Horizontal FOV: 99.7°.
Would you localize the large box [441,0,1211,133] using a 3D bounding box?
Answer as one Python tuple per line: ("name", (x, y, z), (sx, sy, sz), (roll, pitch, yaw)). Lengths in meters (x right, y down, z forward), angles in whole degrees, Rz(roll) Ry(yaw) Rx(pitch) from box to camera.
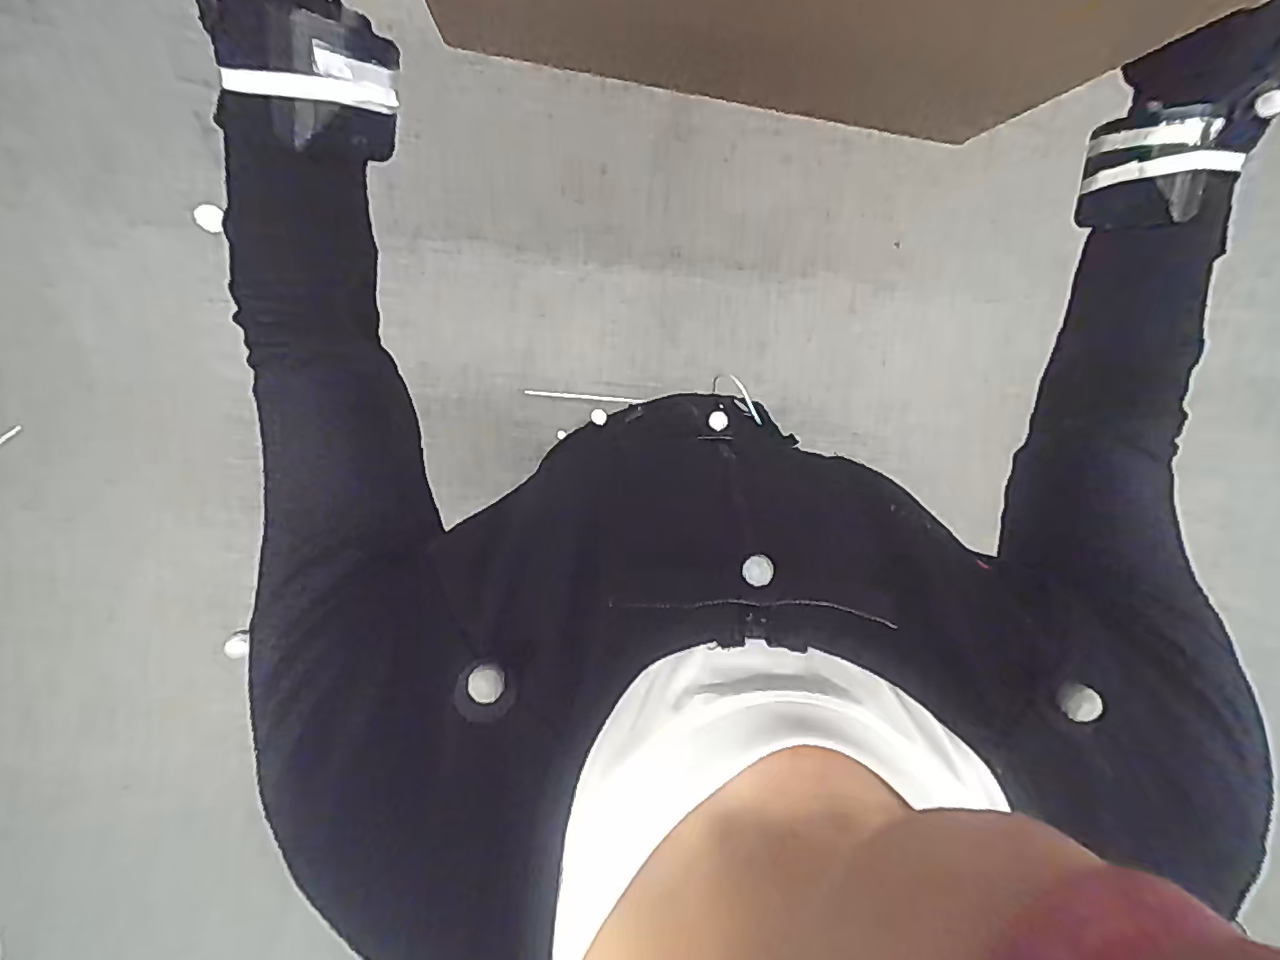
("large box", (0.098, -0.400, 0.228), (0.408, 0.320, 0.320), (5, 105, -9))
